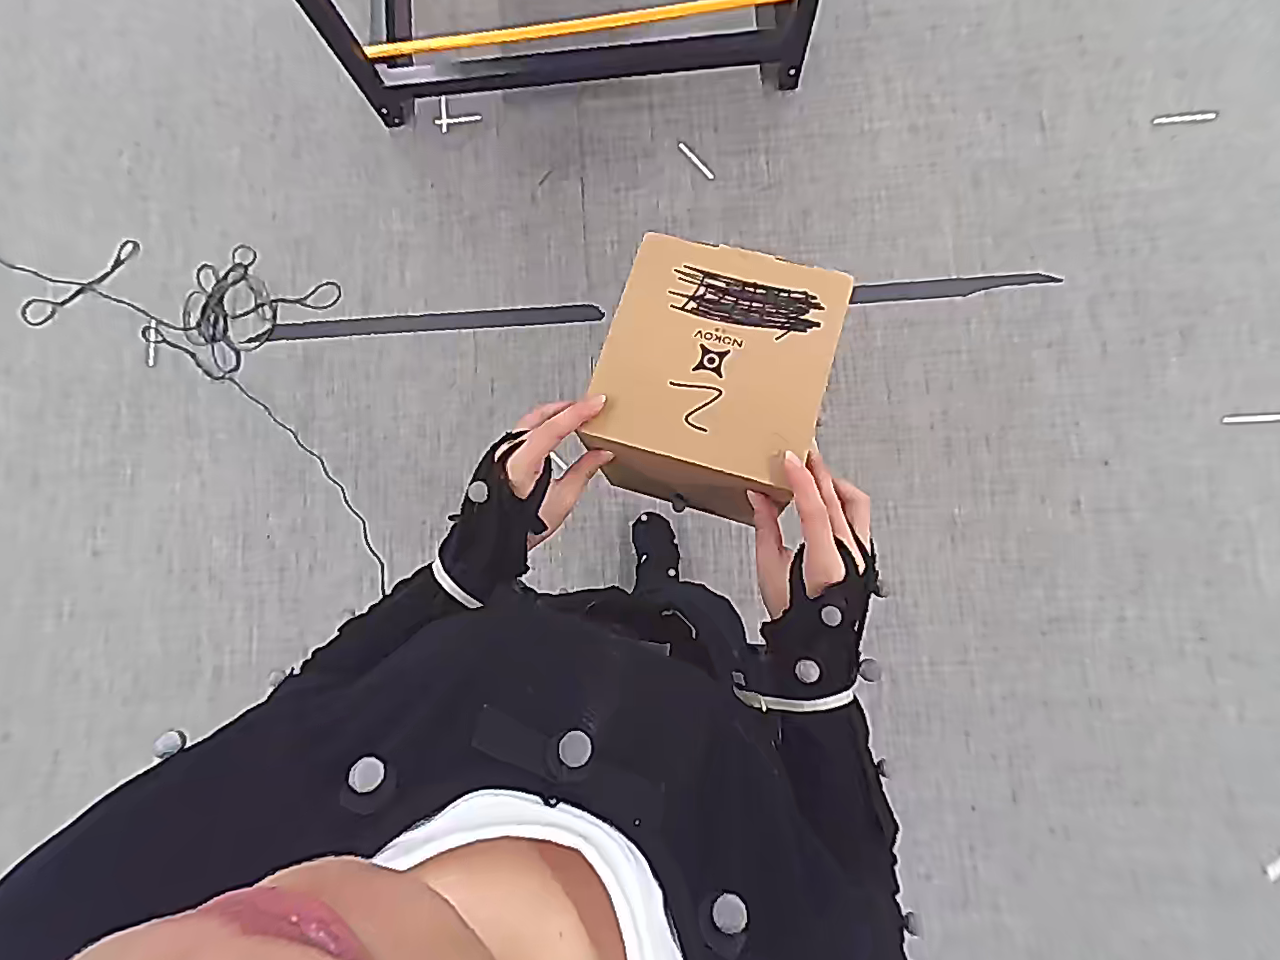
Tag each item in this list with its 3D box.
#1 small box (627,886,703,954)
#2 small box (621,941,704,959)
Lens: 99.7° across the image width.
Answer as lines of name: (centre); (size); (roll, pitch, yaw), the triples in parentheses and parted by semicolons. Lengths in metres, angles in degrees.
small box: (0.057, 1.061, 1.222); (0.168, 0.176, 0.179); (-2, 85, 4)
small box: (0.050, 1.053, 1.060); (0.179, 0.176, 0.168); (-9, 84, 3)
